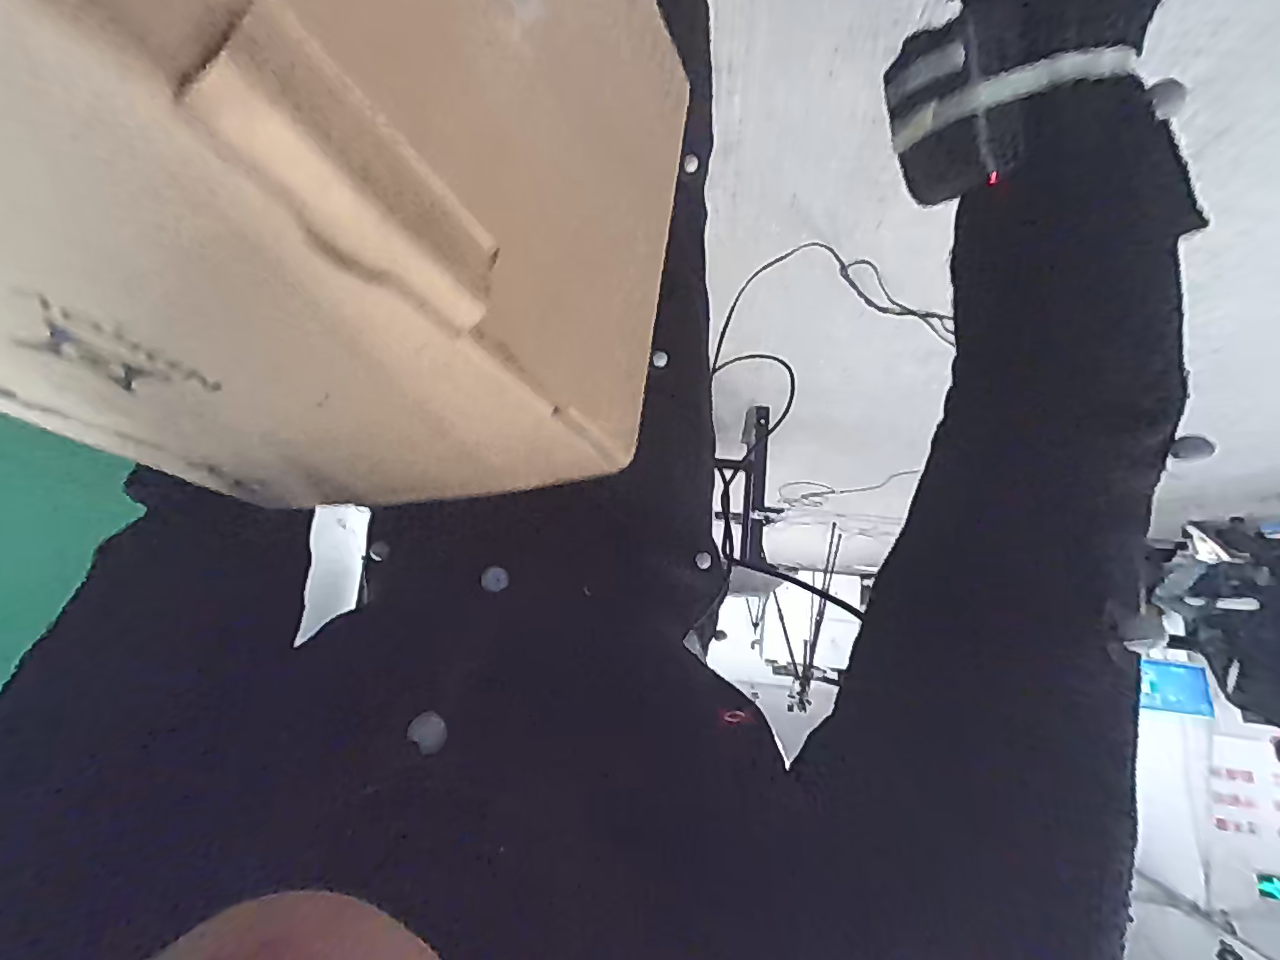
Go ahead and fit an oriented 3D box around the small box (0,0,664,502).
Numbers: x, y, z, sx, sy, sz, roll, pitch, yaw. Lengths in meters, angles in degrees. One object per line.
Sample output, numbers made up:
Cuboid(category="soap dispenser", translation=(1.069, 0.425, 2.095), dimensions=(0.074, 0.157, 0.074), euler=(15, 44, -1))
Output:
Cuboid(category="small box", translation=(-0.101, -0.105, 0.151), dimensions=(0.179, 0.176, 0.168), euler=(-6, 154, 28))
